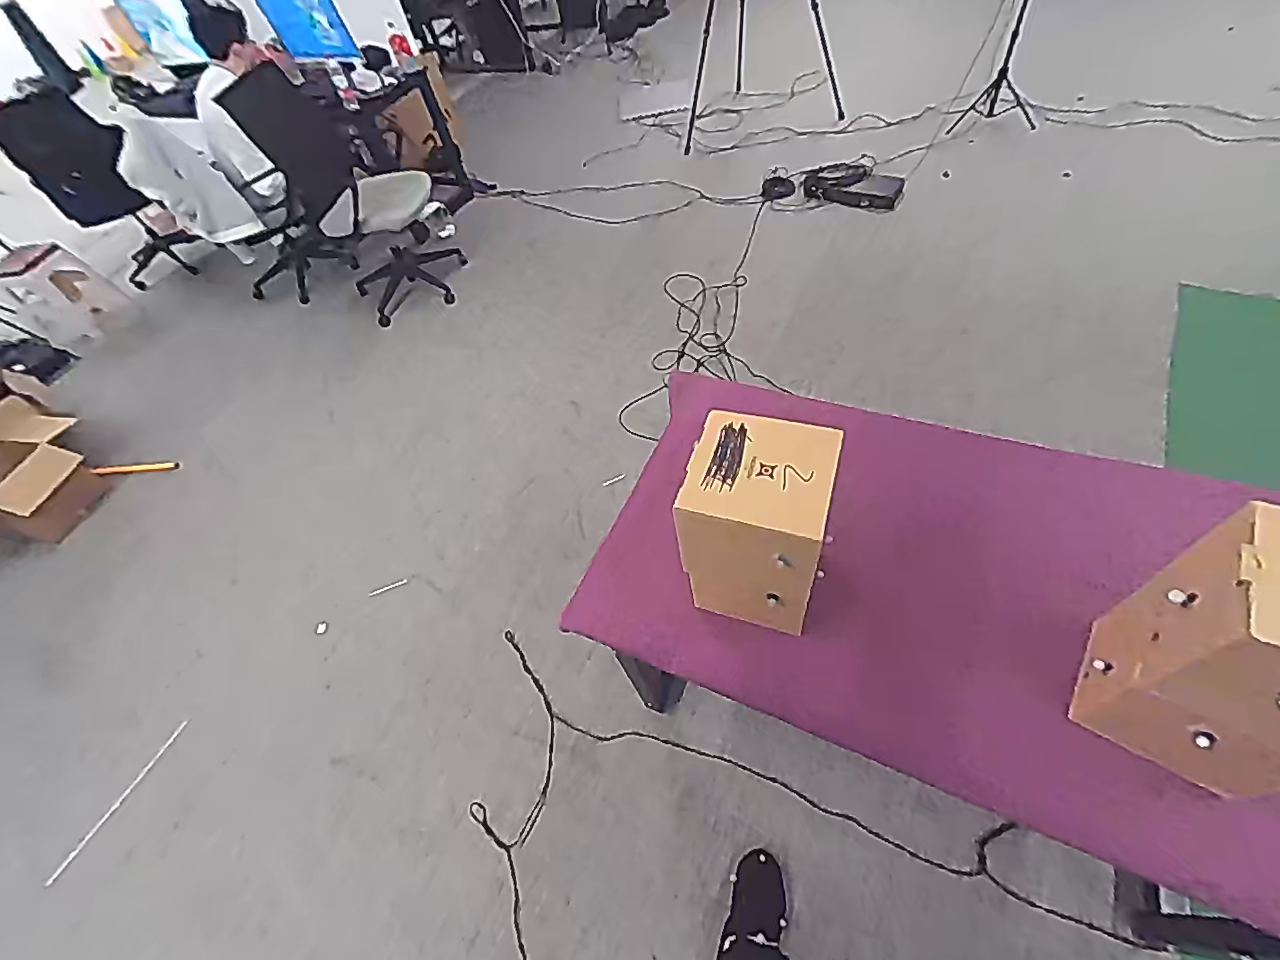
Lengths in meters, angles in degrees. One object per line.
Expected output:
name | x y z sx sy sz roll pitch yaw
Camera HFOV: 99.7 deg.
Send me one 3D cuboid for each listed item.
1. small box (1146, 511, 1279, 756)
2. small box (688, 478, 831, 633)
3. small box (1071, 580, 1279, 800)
small box | 0.655 0.165 0.534 0.179 0.176 0.168 24 62 26
small box | 0.189 0.124 0.856 0.179 0.176 0.168 12 57 20
small box | 0.680 0.261 0.664 0.179 0.176 0.168 27 63 27
